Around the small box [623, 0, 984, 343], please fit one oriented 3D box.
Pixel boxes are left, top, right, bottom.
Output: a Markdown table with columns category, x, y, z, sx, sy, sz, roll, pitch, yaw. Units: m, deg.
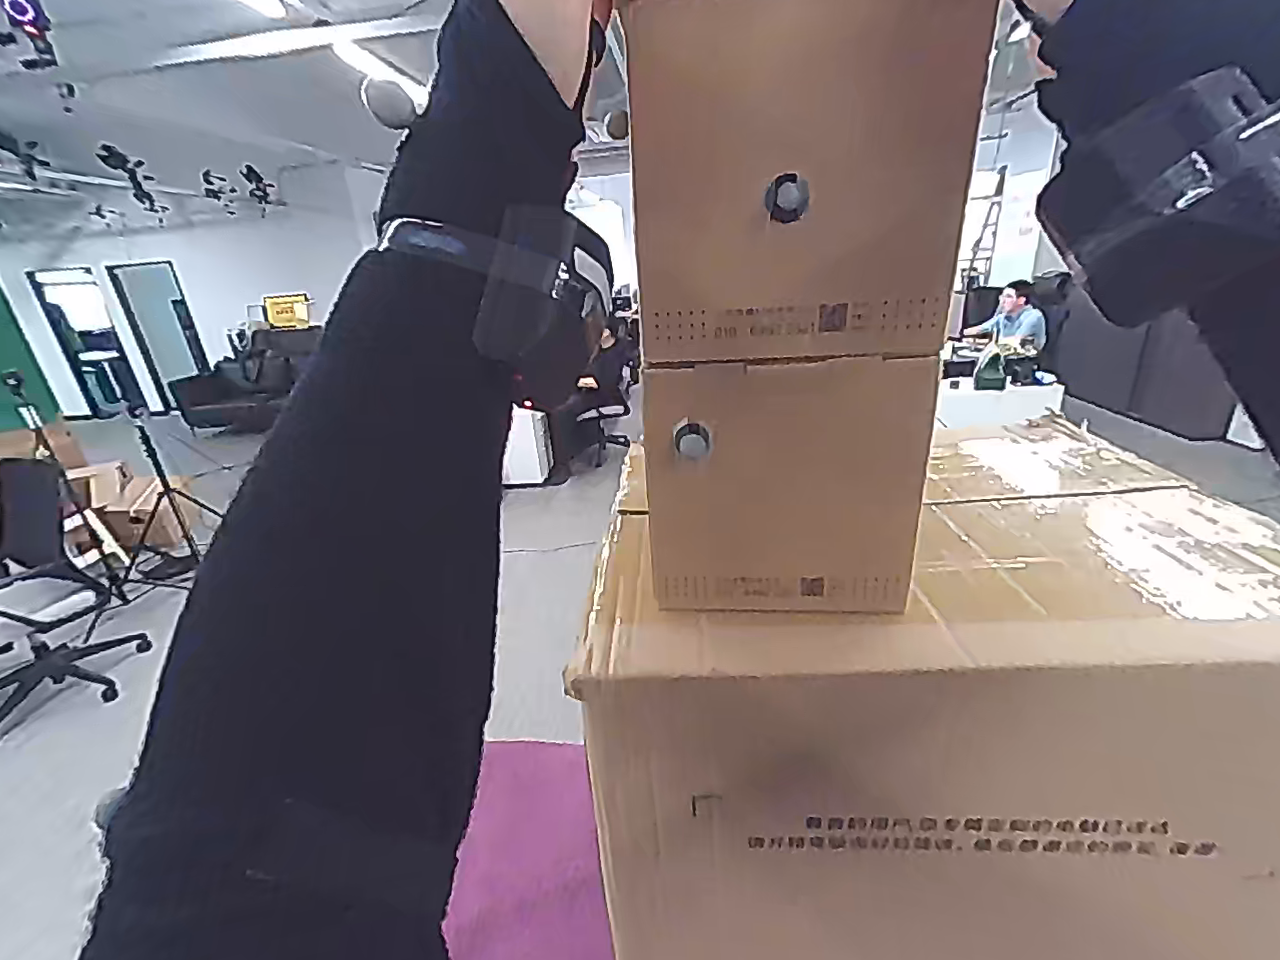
| category | x | y | z | sx | sy | sz | roll | pitch | yaw |
| --- | --- | --- | --- | --- | --- | --- | --- | --- | --- |
| small box | 0.086 | -0.181 | 0.342 | 0.168 | 0.176 | 0.179 | -1 | 22 | 6 |
